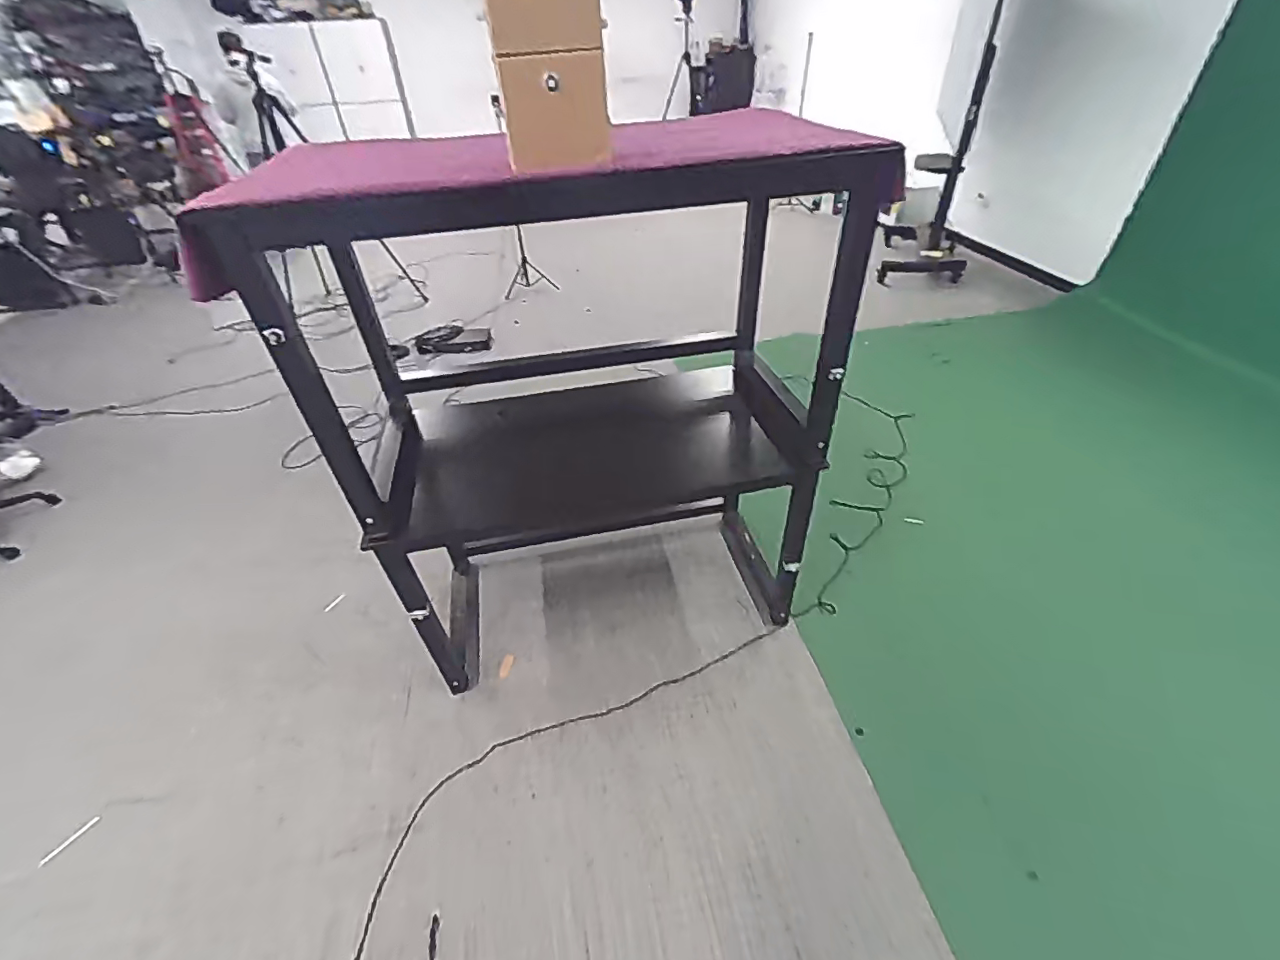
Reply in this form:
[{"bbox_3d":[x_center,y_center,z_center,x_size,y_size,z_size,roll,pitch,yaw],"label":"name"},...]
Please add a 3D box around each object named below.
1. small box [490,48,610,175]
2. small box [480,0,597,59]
[{"bbox_3d":[-0.158,-0.651,0.956,0.179,0.176,0.168,-10,40,-8],"label":"small box"},{"bbox_3d":[-0.166,-0.777,0.852,0.179,0.176,0.168,-12,41,-8],"label":"small box"}]
